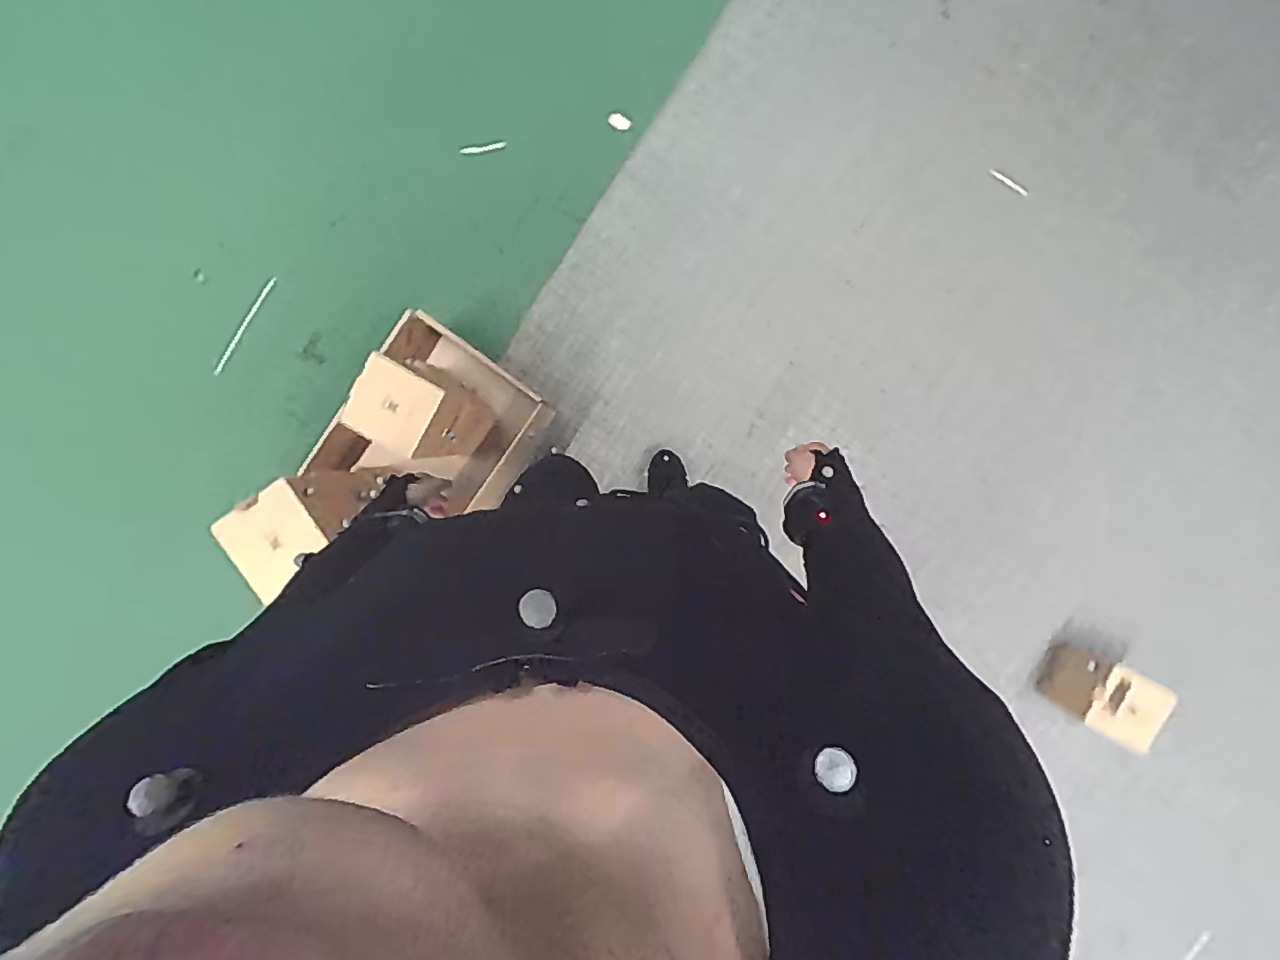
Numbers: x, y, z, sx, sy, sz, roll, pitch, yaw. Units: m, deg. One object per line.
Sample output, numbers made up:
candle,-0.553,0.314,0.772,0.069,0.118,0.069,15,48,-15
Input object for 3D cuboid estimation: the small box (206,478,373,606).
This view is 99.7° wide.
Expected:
small box,-0.658,0.109,1.041,0.168,0.176,0.179,-34,91,2

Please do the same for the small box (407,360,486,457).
small box,-0.519,-0.172,1.353,0.179,0.176,0.168,39,94,-2

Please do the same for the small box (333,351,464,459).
small box,-0.521,-0.159,1.191,0.179,0.176,0.168,29,95,-3

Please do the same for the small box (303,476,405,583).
small box,-0.664,0.099,1.203,0.179,0.176,0.168,34,92,0
